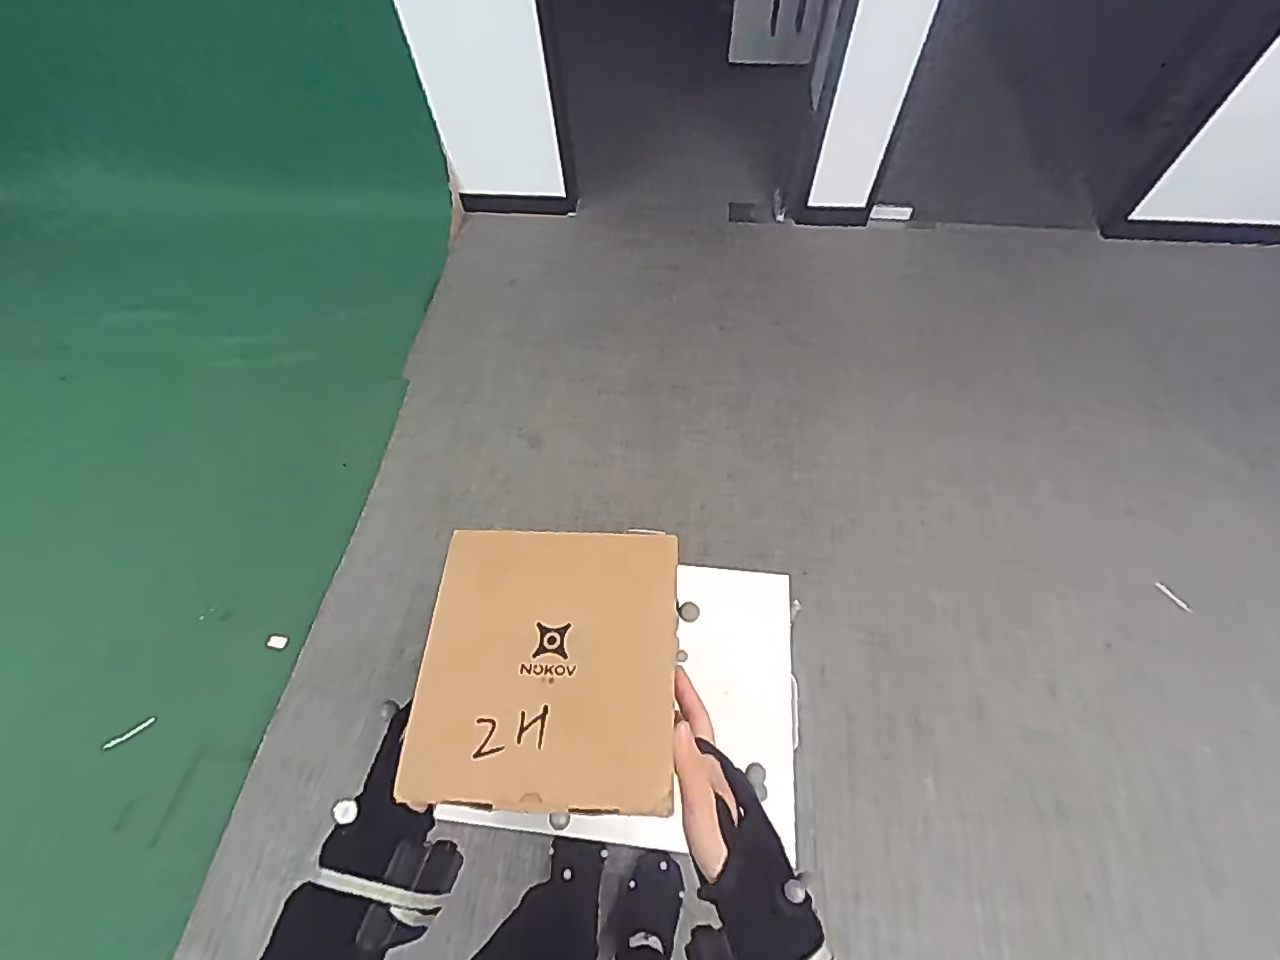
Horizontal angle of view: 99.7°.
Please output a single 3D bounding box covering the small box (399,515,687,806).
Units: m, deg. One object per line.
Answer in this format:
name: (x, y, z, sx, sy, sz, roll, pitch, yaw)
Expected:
small box: (-0.051, 0.143, 0.415, 0.168, 0.176, 0.179, 1, 60, 4)
